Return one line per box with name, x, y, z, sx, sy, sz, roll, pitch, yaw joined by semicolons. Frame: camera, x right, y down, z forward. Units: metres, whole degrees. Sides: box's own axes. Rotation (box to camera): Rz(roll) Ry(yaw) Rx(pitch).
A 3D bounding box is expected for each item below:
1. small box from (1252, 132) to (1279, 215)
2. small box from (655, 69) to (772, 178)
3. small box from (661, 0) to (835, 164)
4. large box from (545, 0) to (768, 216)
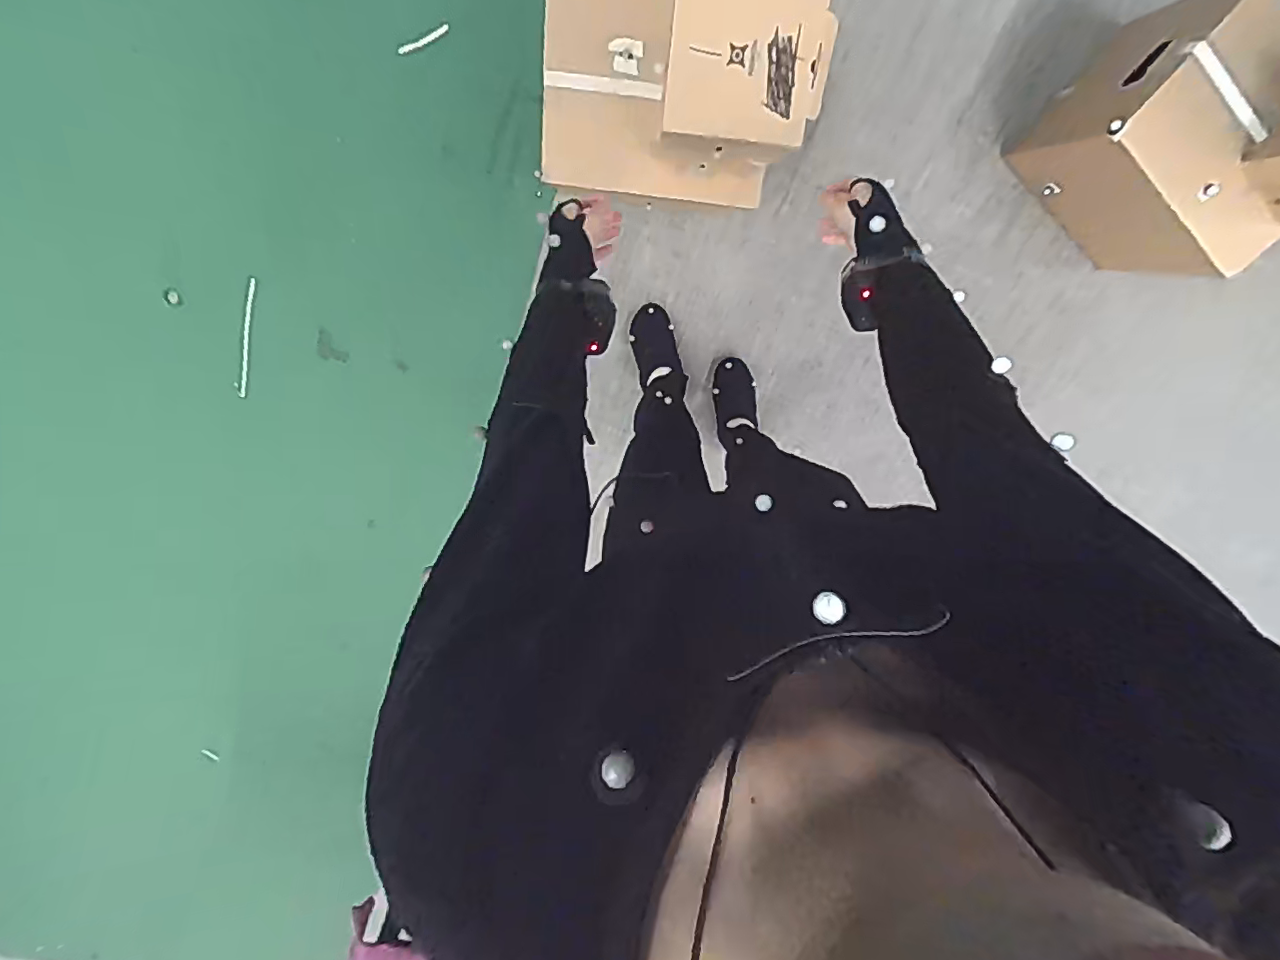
small box;1.183;-0.543;0.870;0.168;0.176;0.179;36;108;-15
small box;0.125;-0.585;0.848;0.179;0.176;0.168;10;113;-5
small box;0.125;-0.517;0.698;0.179;0.176;0.168;6;114;-1
large box;0.043;-0.709;1.061;0.408;0.320;0.320;6;113;-1
